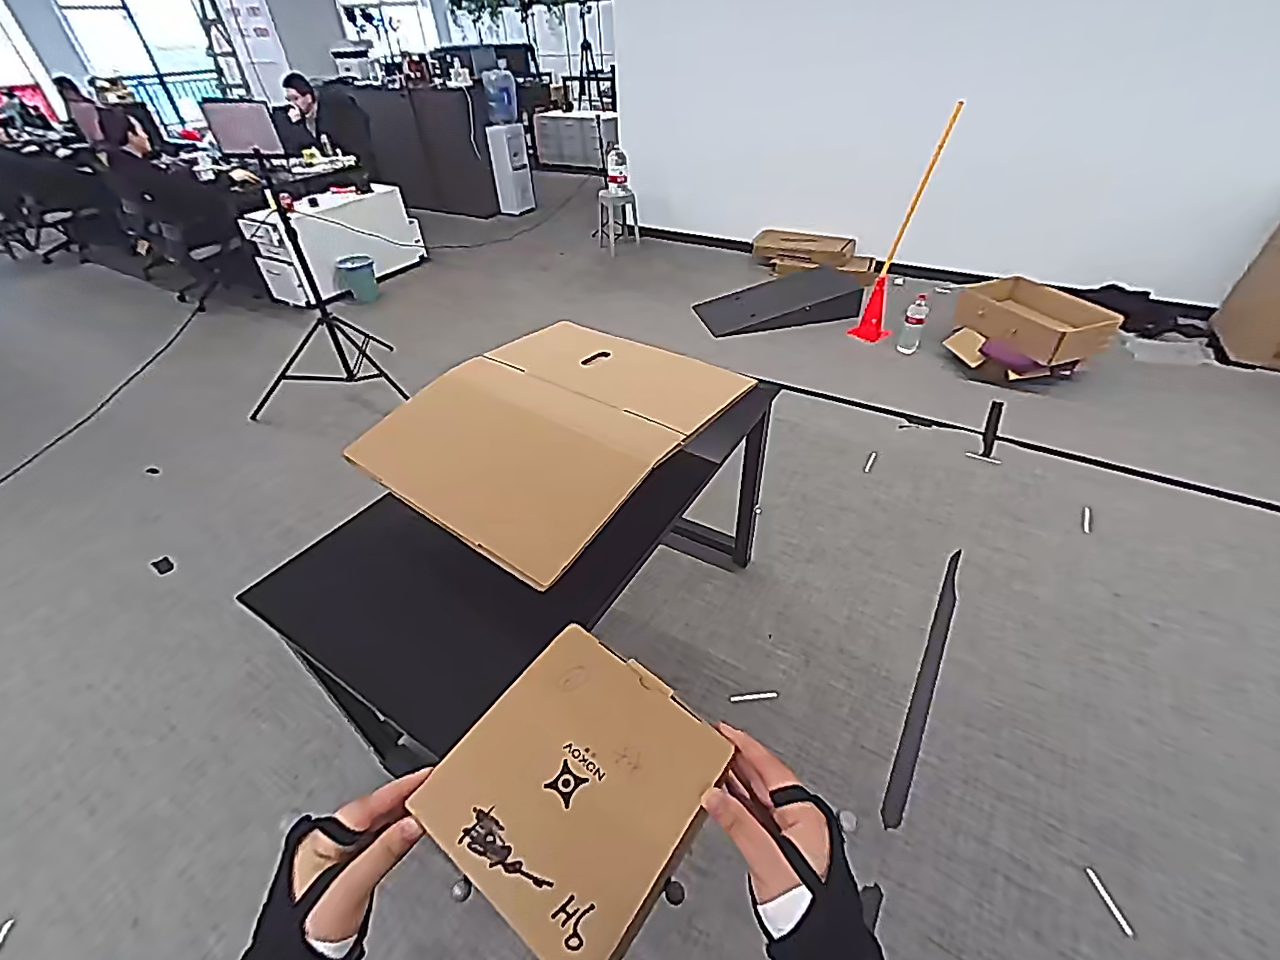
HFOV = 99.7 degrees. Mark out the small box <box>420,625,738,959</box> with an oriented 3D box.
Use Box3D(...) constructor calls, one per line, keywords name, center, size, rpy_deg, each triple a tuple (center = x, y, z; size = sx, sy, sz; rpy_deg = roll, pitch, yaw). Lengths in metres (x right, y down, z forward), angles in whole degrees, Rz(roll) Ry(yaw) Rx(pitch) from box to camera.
Box3D(name="small box", center=(-0.042, 0.265, 0.449), size=(0.168, 0.176, 0.179), rpy_deg=(29, 53, 25))
